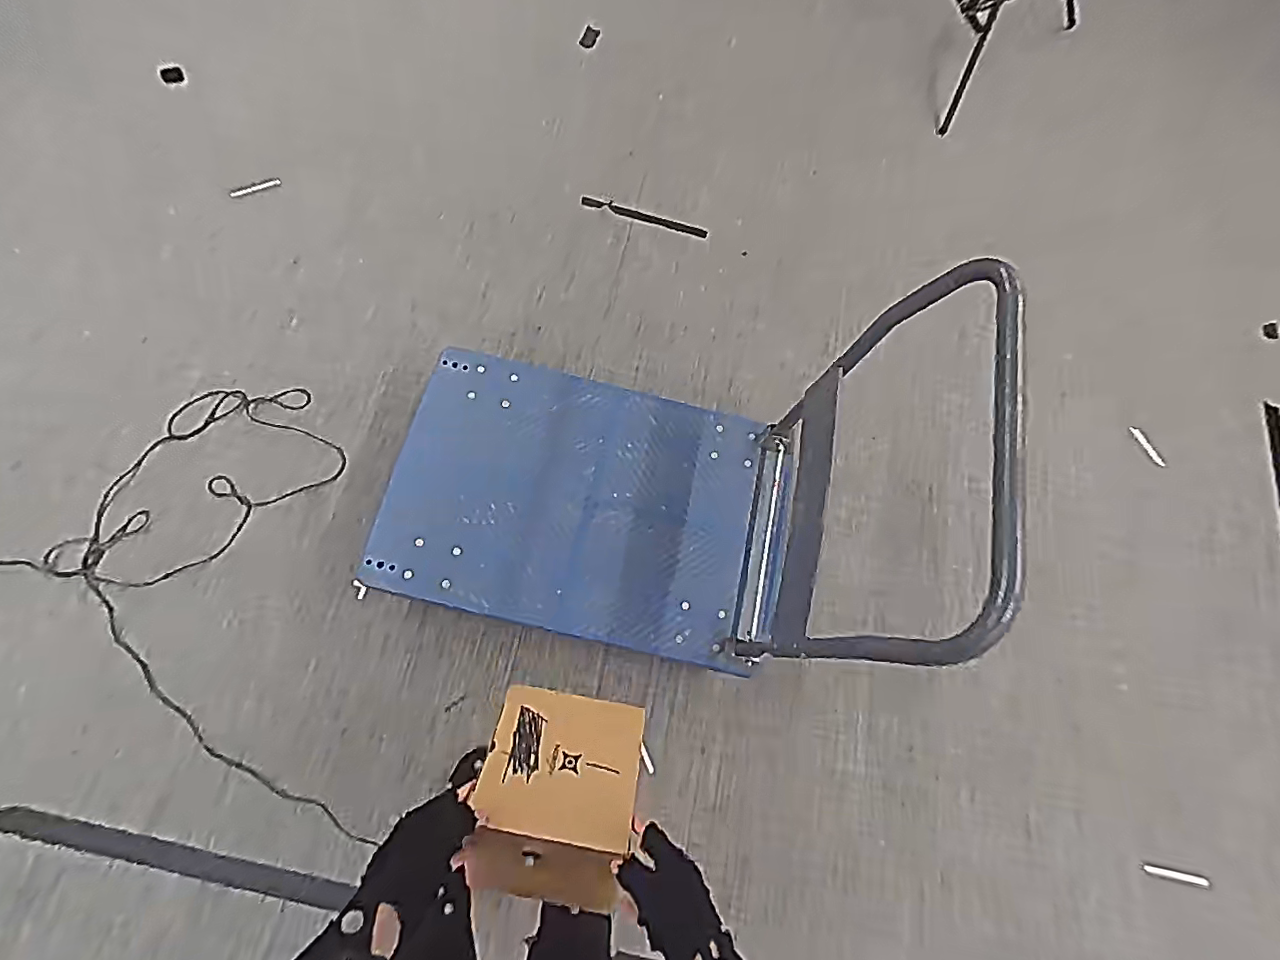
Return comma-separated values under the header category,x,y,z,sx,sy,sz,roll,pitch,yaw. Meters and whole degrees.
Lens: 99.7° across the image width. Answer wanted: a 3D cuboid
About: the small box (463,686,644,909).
category,x,y,z,sx,sy,sz,roll,pitch,yaw
small box,-0.102,0.387,0.663,0.179,0.176,0.168,12,33,0
